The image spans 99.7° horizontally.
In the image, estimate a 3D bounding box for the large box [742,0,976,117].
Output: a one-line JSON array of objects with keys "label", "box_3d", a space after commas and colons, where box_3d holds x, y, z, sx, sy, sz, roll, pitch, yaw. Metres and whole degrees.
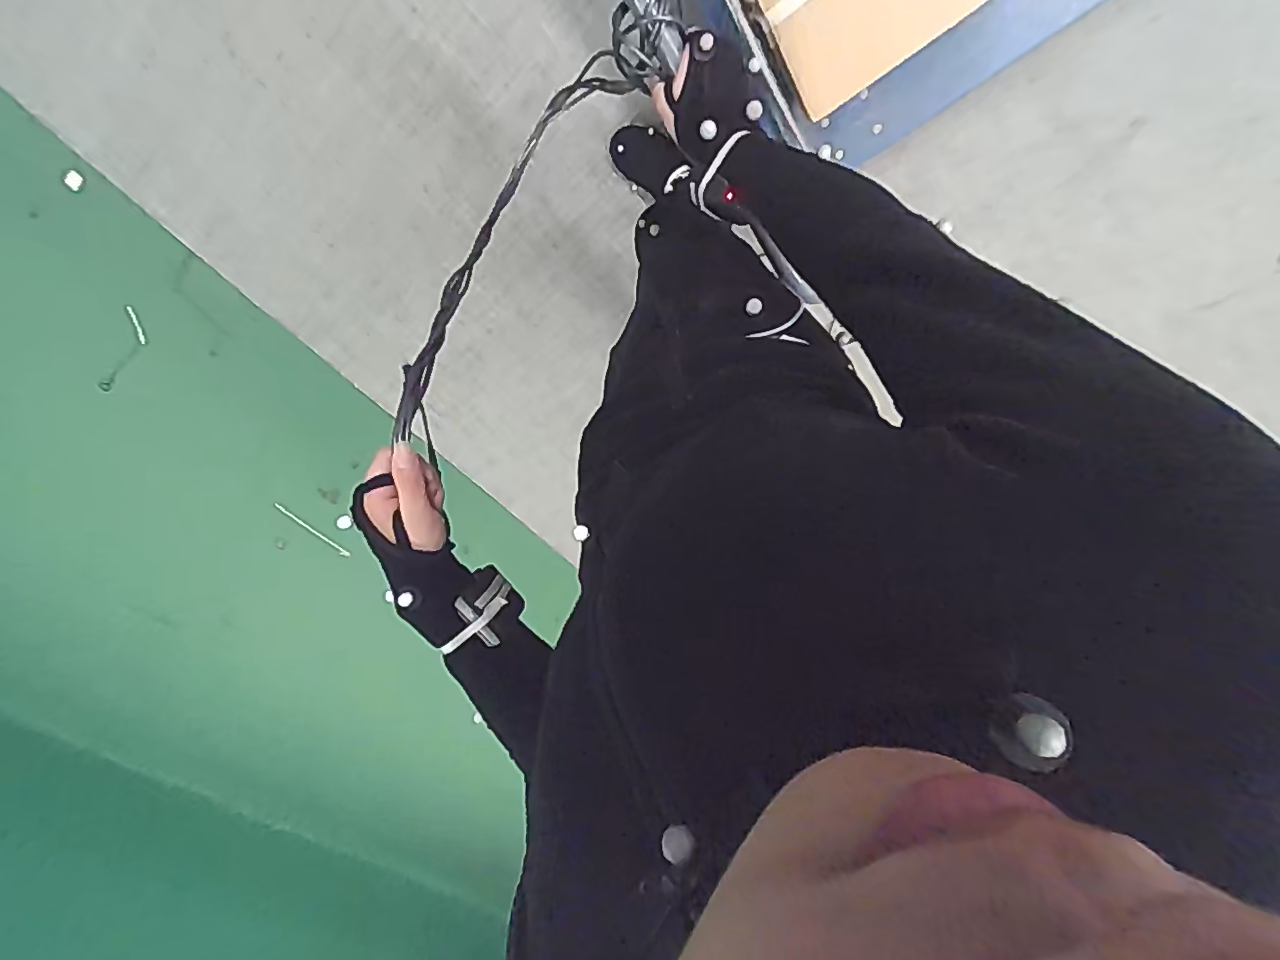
[{"label": "large box", "box_3d": [0.357, -0.841, 0.814, 0.408, 0.320, 0.320, -25, 122, 26]}]
